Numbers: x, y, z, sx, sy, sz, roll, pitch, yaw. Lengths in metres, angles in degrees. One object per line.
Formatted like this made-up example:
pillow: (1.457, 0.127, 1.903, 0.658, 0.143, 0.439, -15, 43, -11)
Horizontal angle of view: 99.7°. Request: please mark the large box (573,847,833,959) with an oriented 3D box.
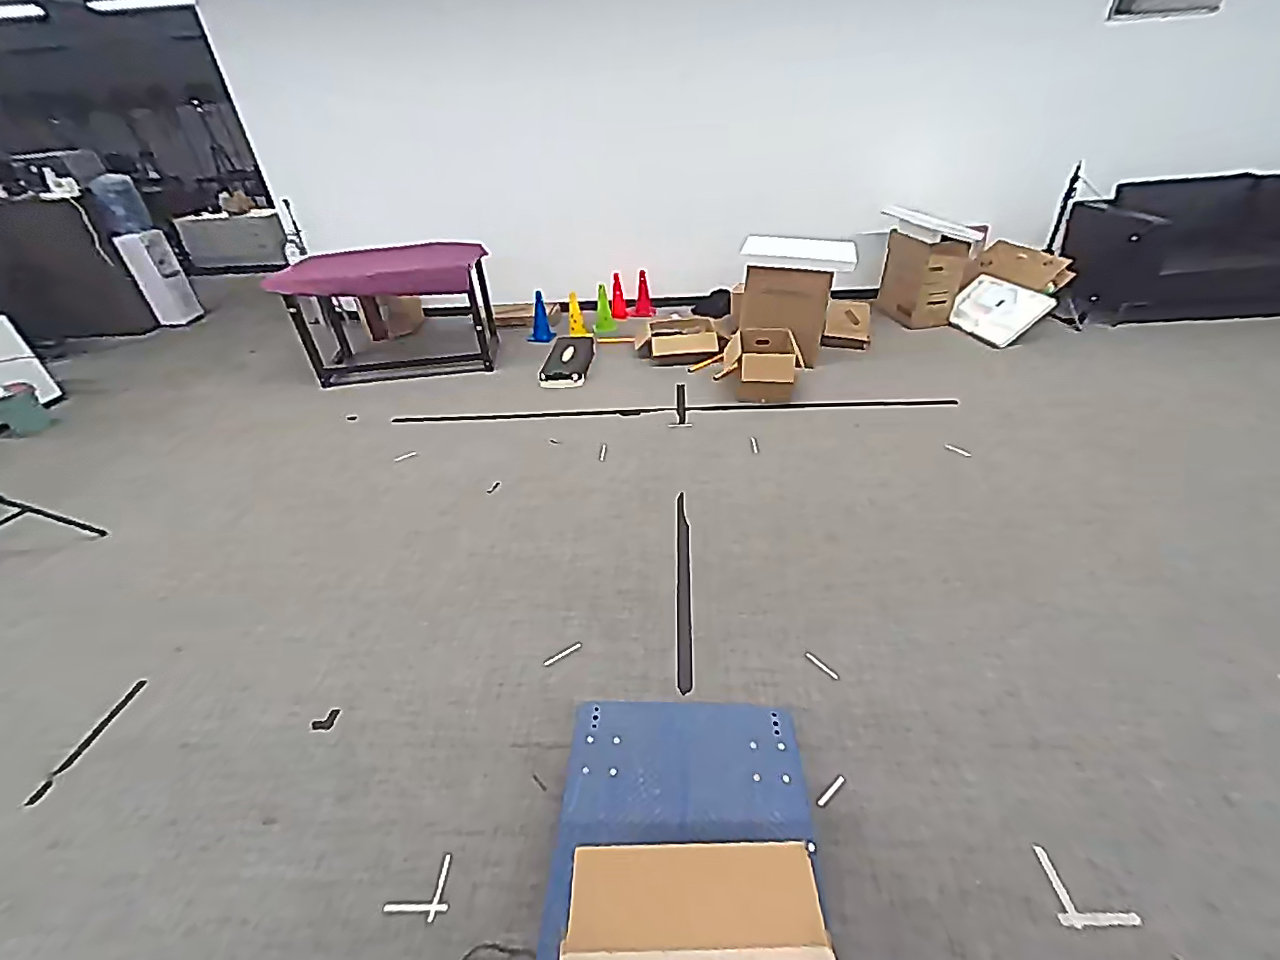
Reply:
large box: (0.099, 0.856, 0.899, 0.408, 0.320, 0.320, -2, 35, 1)
